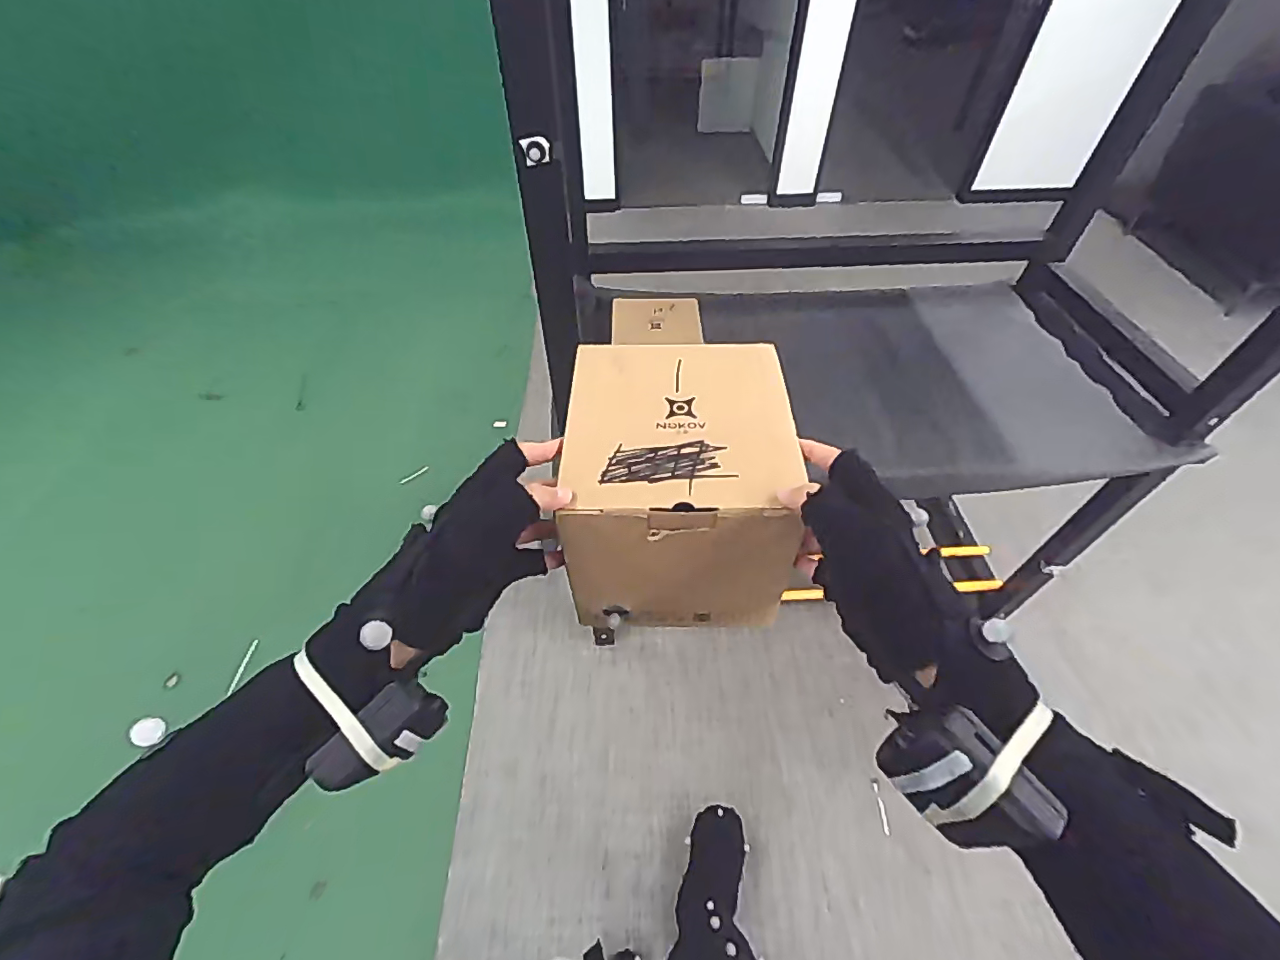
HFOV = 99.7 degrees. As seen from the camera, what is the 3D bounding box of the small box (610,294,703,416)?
[{"bbox_3d":[0.031,-0.238,1.046,0.168,0.176,0.179,0,50,-1],"label":"small box"}]
